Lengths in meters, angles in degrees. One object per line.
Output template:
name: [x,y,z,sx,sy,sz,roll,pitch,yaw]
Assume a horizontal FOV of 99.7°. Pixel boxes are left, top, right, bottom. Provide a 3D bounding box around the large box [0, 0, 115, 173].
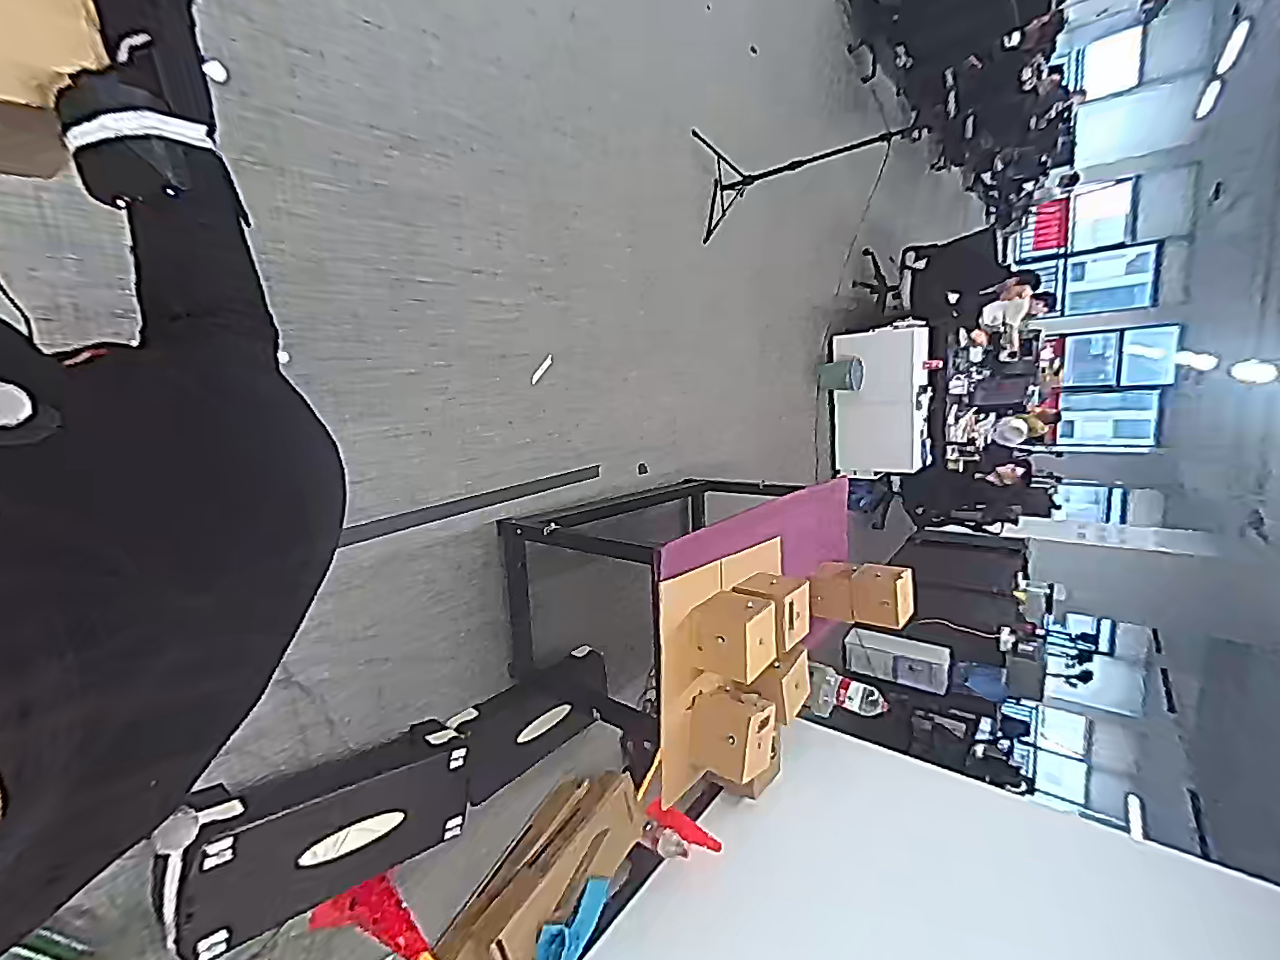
large box: [-0.607,-0.374,0.268,0.408,0.320,0.320,-22,120,-49]
